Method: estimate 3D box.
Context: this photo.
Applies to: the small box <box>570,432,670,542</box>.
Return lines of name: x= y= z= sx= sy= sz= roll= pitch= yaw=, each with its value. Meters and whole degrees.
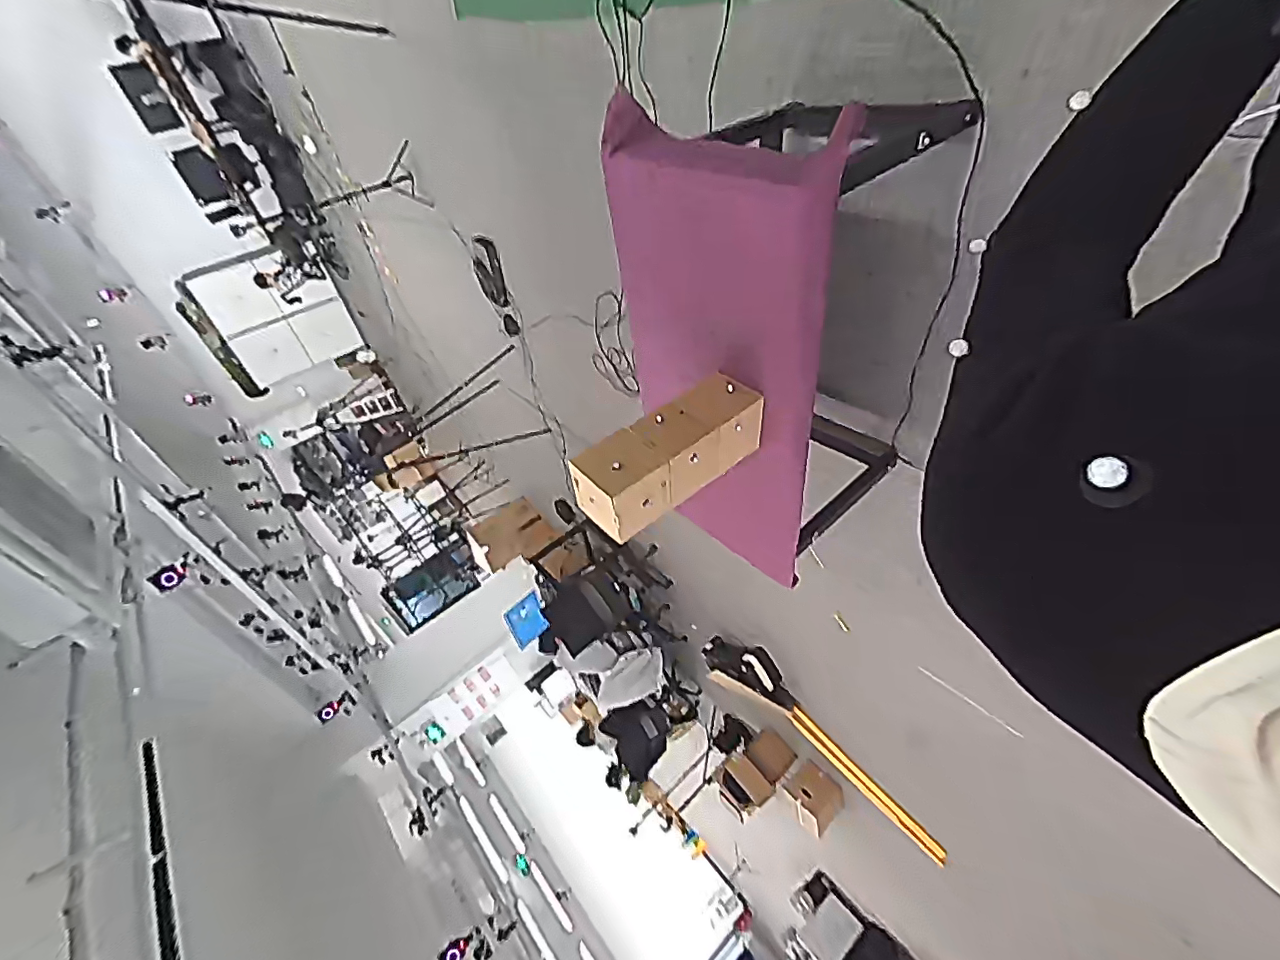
small box: x=-0.041 y=0.010 z=1.304 sx=0.179 sy=0.176 sz=0.168 roll=38 pitch=149 yaw=34

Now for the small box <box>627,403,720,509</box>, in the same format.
small box: x=0.088 y=-0.068 z=1.368 sx=0.168 sy=0.176 sz=0.179 roll=39 pitch=150 yaw=34
